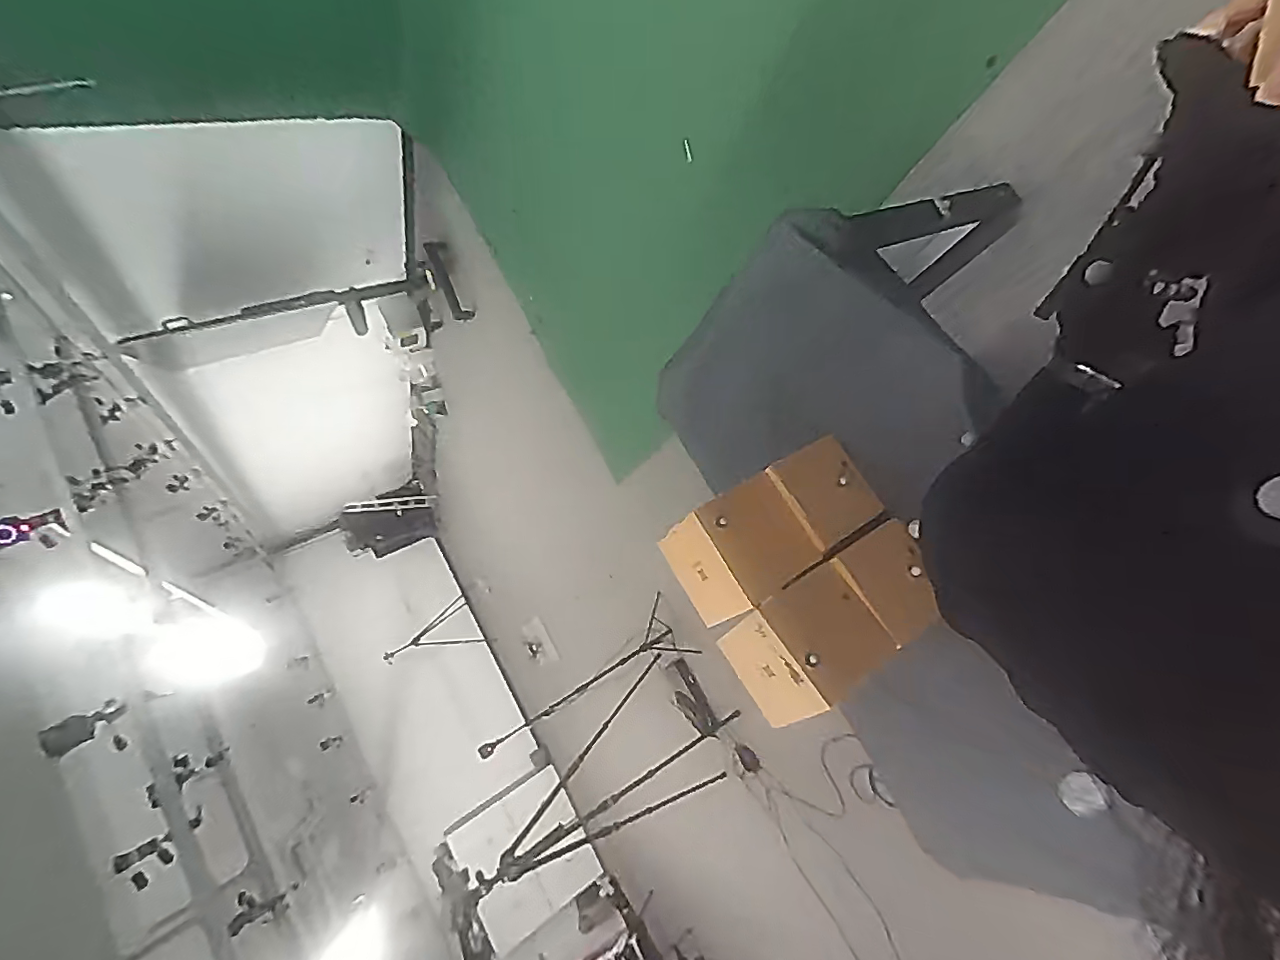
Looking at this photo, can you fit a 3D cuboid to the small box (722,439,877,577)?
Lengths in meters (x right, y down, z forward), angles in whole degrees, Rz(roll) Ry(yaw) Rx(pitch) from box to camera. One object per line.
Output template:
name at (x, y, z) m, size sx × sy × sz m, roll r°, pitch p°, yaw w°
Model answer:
small box at (0.291, 0.051, 0.992) m, size 0.168 × 0.176 × 0.179 m, roll 58°, pitch 149°, yaw 11°
